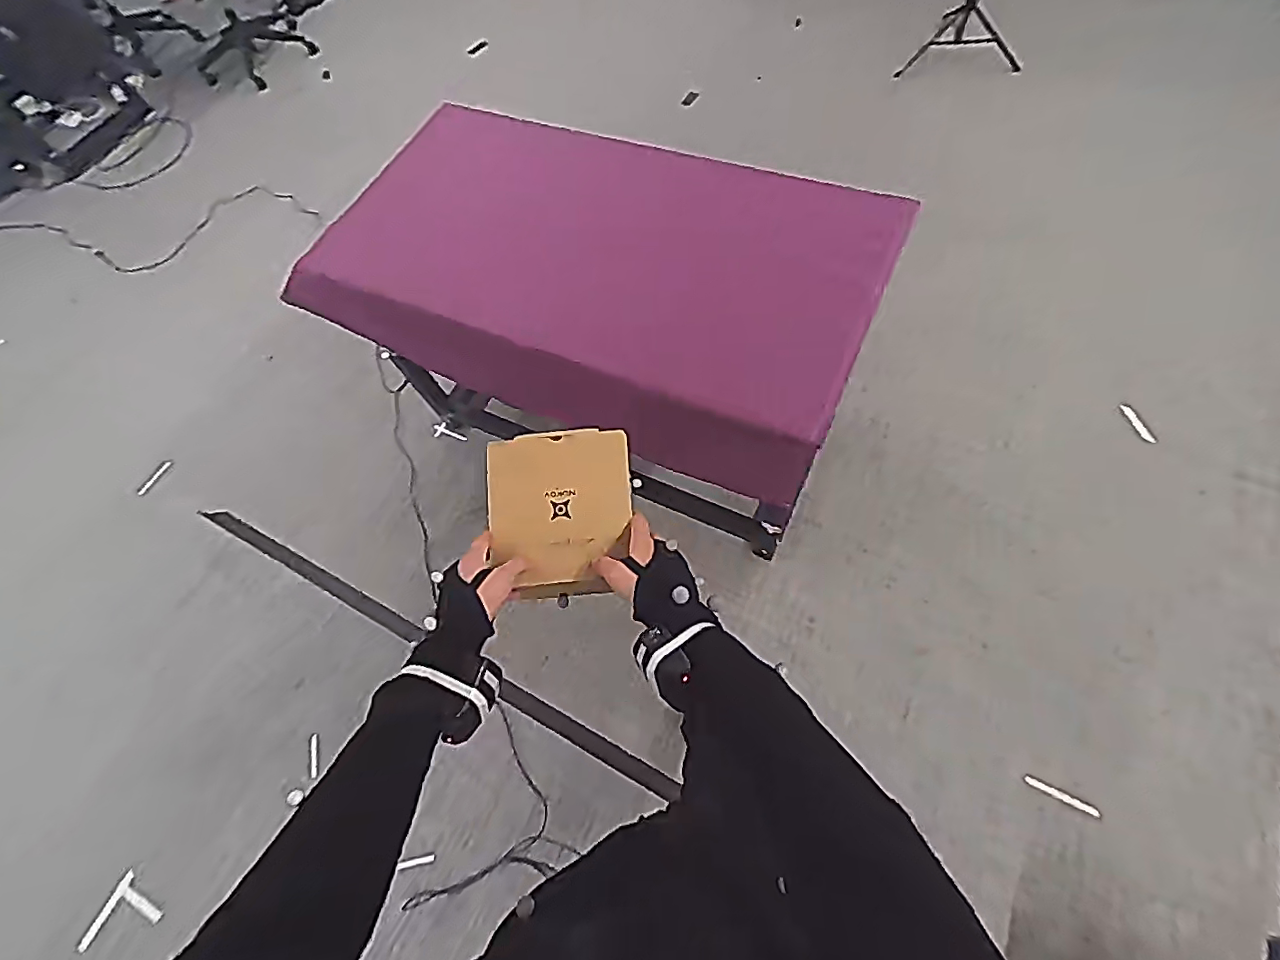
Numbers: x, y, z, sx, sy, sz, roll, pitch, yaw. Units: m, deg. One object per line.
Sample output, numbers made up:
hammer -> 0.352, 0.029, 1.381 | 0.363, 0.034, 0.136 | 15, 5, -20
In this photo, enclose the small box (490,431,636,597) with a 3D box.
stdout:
small box -> -0.094, 0.051, 0.707 | 0.168, 0.176, 0.179 | -4, 73, -2
